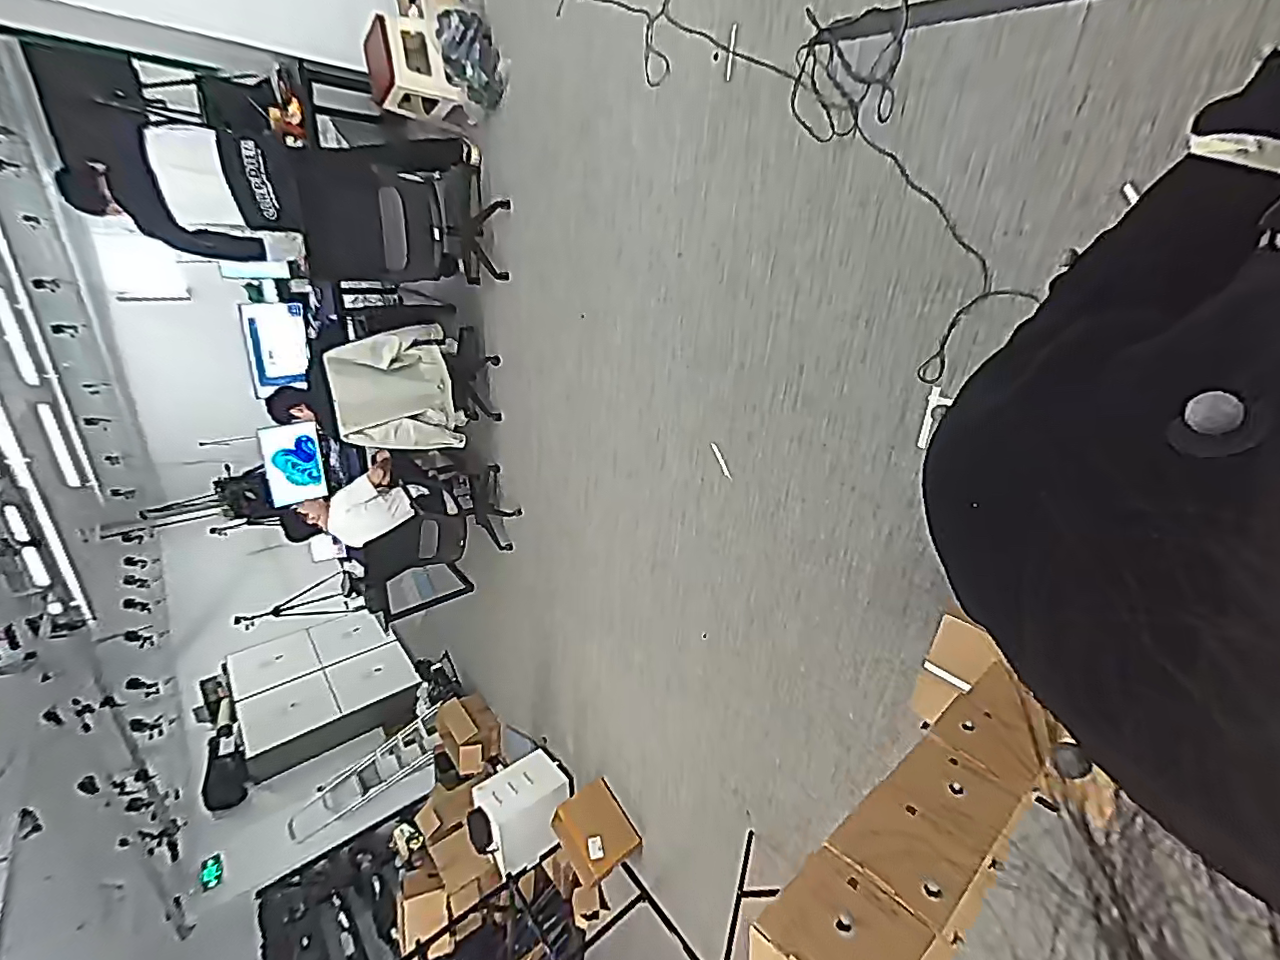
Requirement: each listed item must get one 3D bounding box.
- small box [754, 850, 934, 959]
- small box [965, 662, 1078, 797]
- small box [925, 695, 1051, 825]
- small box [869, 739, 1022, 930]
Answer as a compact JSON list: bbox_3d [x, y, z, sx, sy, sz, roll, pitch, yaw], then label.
[{"bbox_3d":[0.270,0.654,0.723,0.168,0.176,0.179,16,114,49],"label":"small box"},{"bbox_3d":[0.770,0.518,1.123,0.168,0.176,0.179,27,122,43],"label":"small box"},{"bbox_3d":[0.644,0.547,1.025,0.168,0.176,0.179,26,123,45],"label":"small box"},{"bbox_3d":[0.521,0.587,0.923,0.168,0.176,0.179,21,118,48],"label":"small box"}]
